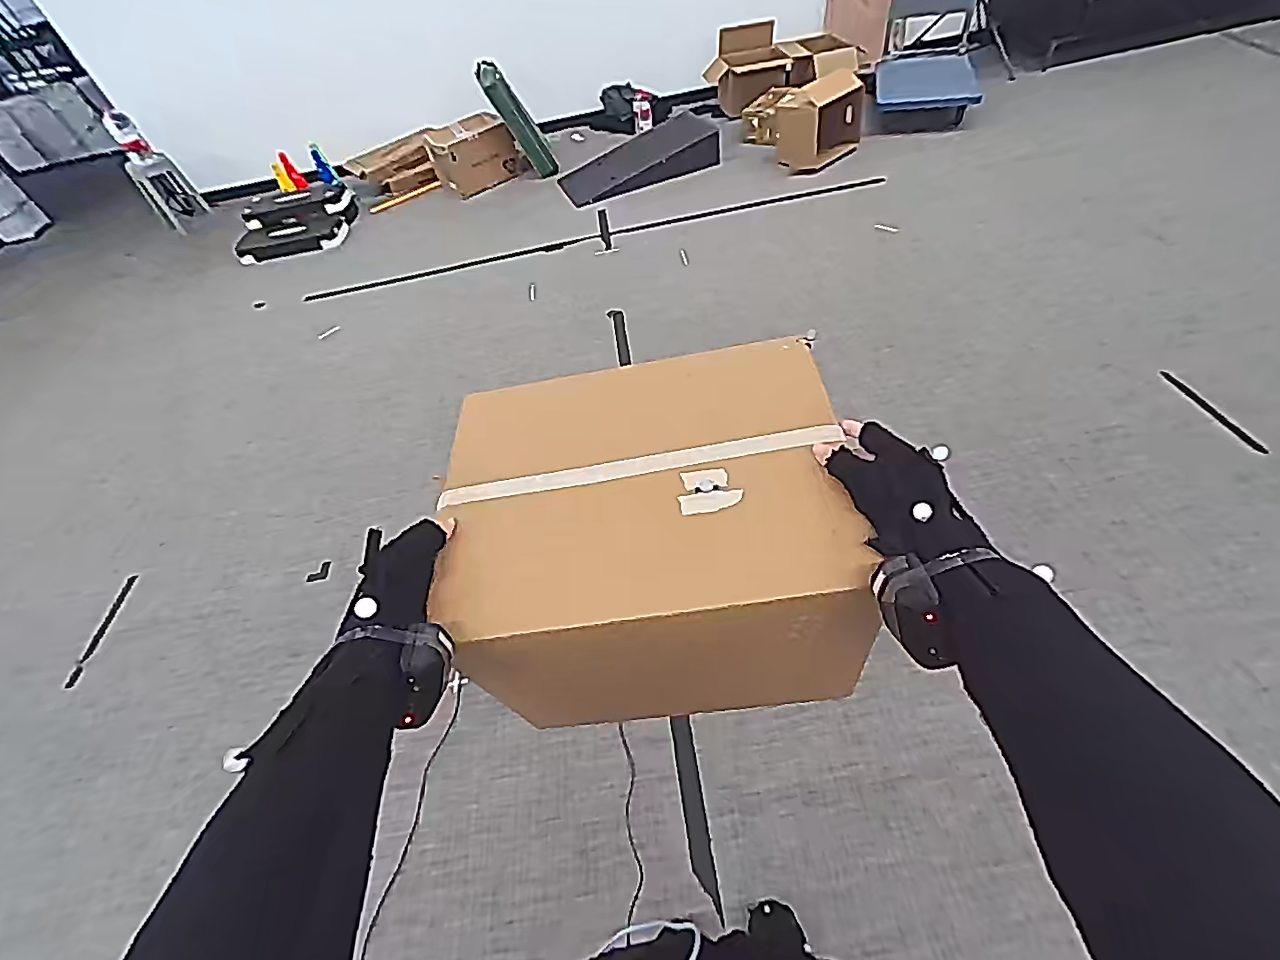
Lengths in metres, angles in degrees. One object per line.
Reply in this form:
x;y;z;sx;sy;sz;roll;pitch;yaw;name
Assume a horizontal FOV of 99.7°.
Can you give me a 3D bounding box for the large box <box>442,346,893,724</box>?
0.029;0.083;0.669;0.408;0.320;0.320;-9;52;5;large box
